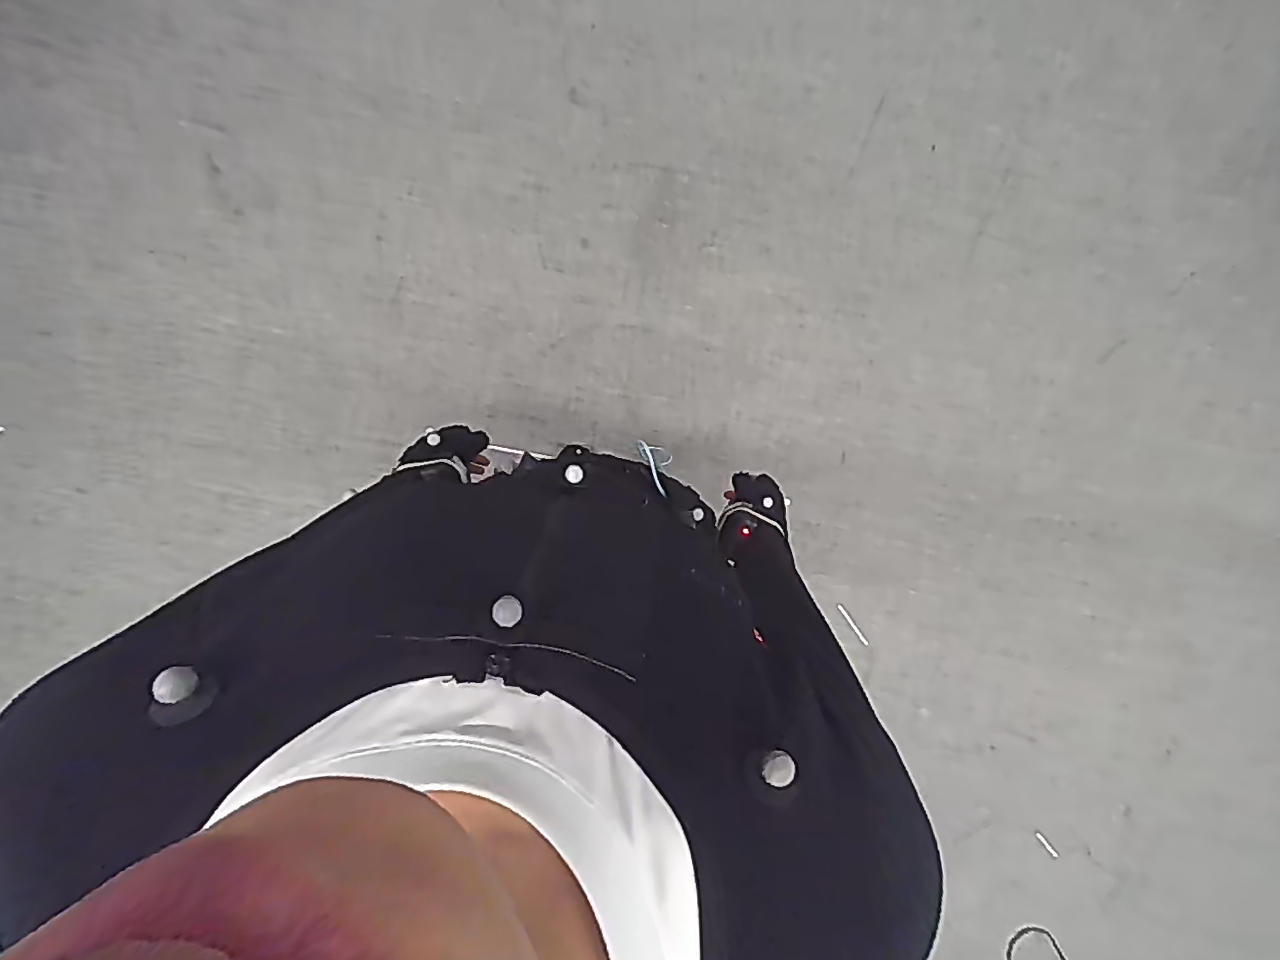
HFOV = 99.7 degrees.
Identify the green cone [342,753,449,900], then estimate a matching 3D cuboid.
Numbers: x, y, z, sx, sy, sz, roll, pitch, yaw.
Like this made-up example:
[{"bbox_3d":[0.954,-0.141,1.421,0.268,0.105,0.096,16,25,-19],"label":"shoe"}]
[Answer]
[{"bbox_3d":[-0.641,0.883,1.350,0.202,0.368,0.200,9,94,-3],"label":"green cone"}]
